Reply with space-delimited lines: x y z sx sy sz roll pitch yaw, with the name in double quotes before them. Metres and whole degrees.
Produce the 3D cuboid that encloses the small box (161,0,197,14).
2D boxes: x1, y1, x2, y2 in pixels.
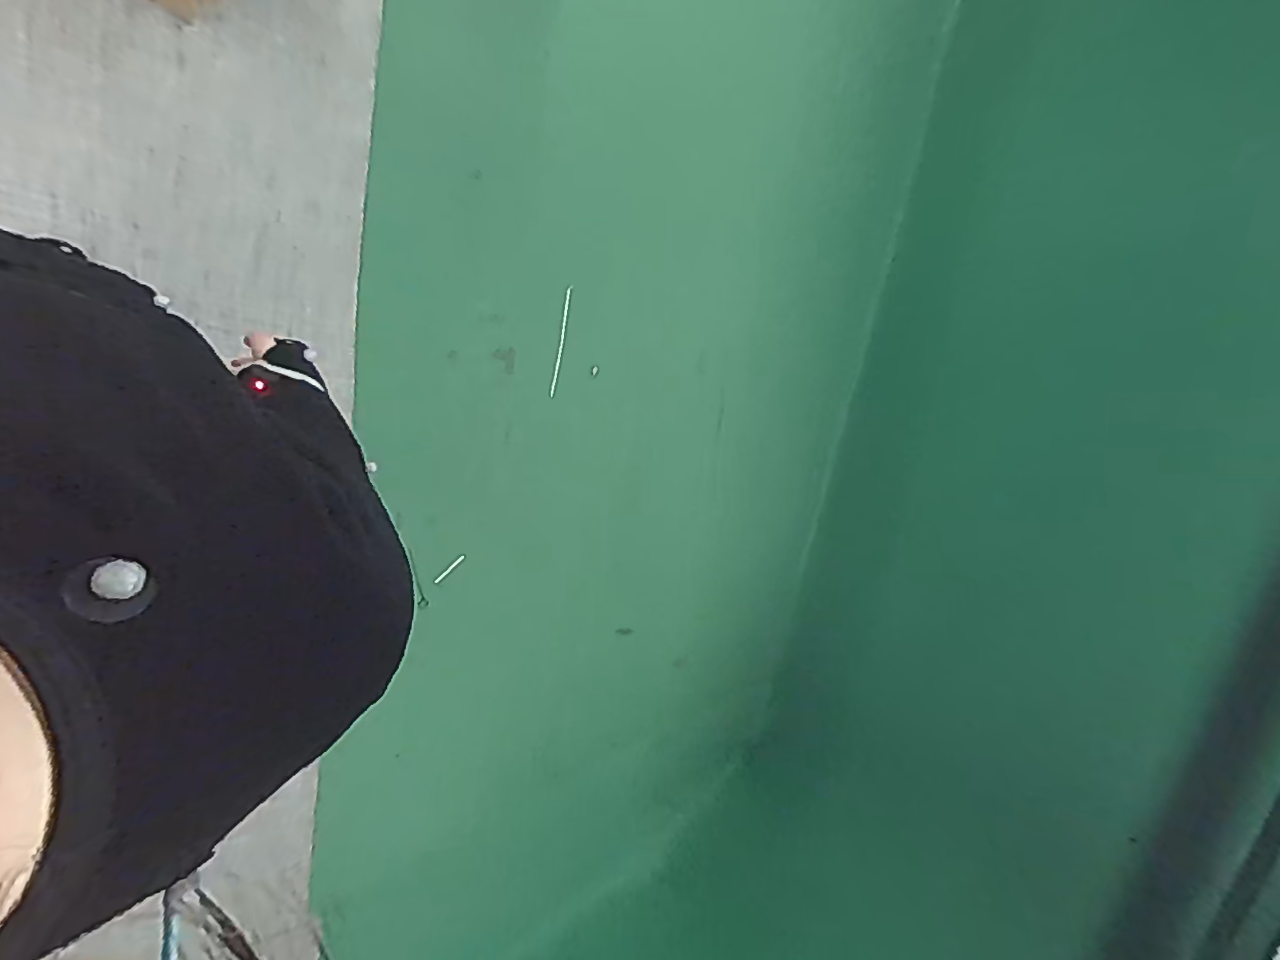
"small box" -0.829 -0.944 0.907 0.168 0.176 0.179 10 98 -50
